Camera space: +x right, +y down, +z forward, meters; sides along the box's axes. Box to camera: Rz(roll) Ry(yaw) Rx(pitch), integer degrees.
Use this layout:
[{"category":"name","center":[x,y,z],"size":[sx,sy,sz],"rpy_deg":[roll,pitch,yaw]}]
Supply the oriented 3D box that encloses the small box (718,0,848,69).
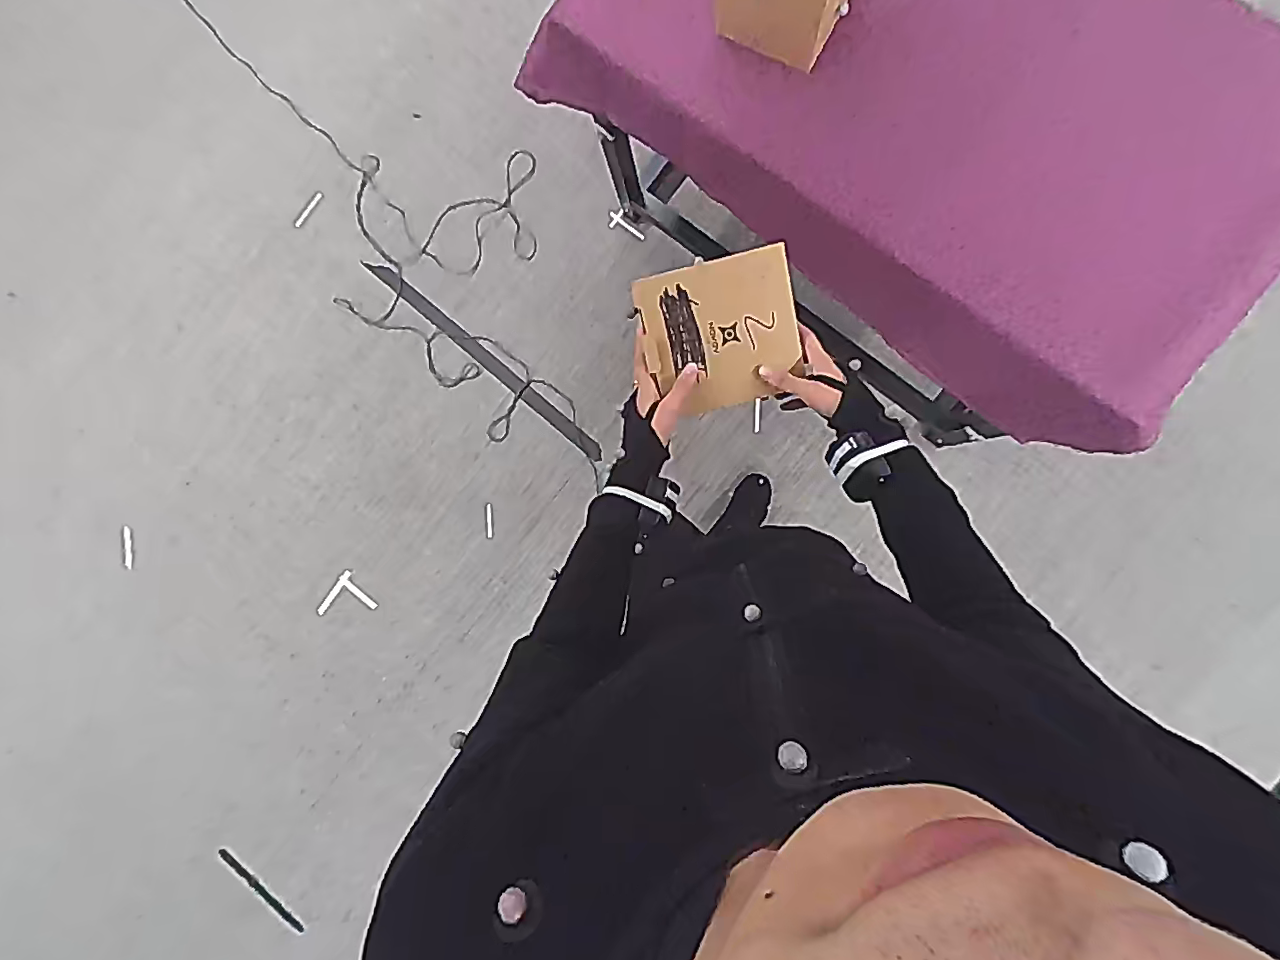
[{"category":"small box","center":[0.231,-0.788,0.829],"size":[0.179,0.176,0.168],"rpy_deg":[29,93,6]}]
